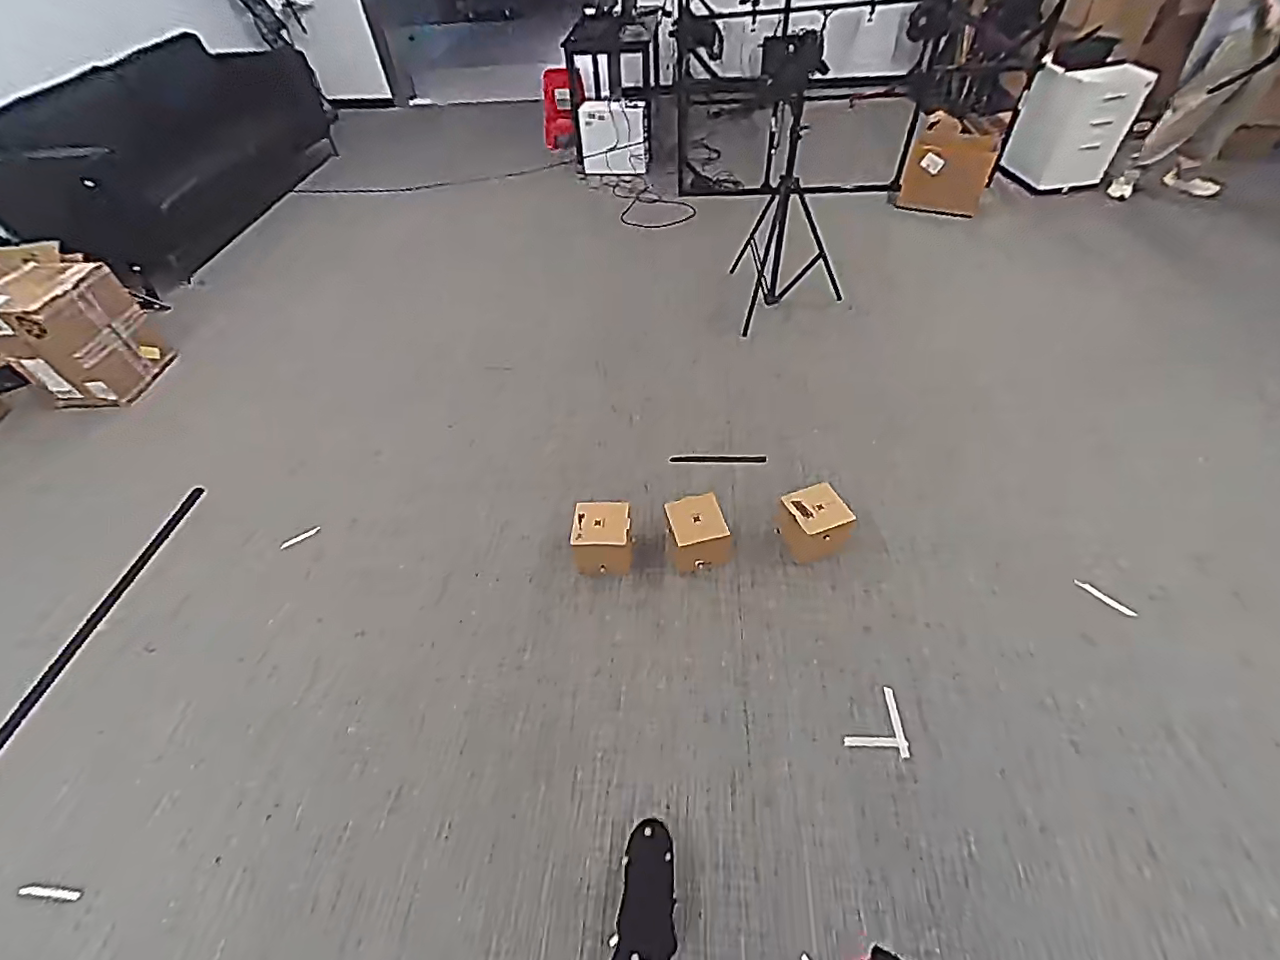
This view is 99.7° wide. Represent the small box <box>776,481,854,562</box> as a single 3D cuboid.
[{"bbox_3d":[0.551,0.137,1.737,0.179,0.176,0.168,-17,50,-12],"label":"small box"}]

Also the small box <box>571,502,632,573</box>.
[{"bbox_3d":[-0.118,0.189,1.745,0.179,0.176,0.168,0,49,3],"label":"small box"}]

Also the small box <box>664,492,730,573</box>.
[{"bbox_3d":[0.179,0.171,1.738,0.168,0.176,0.179,-14,50,-6],"label":"small box"}]
